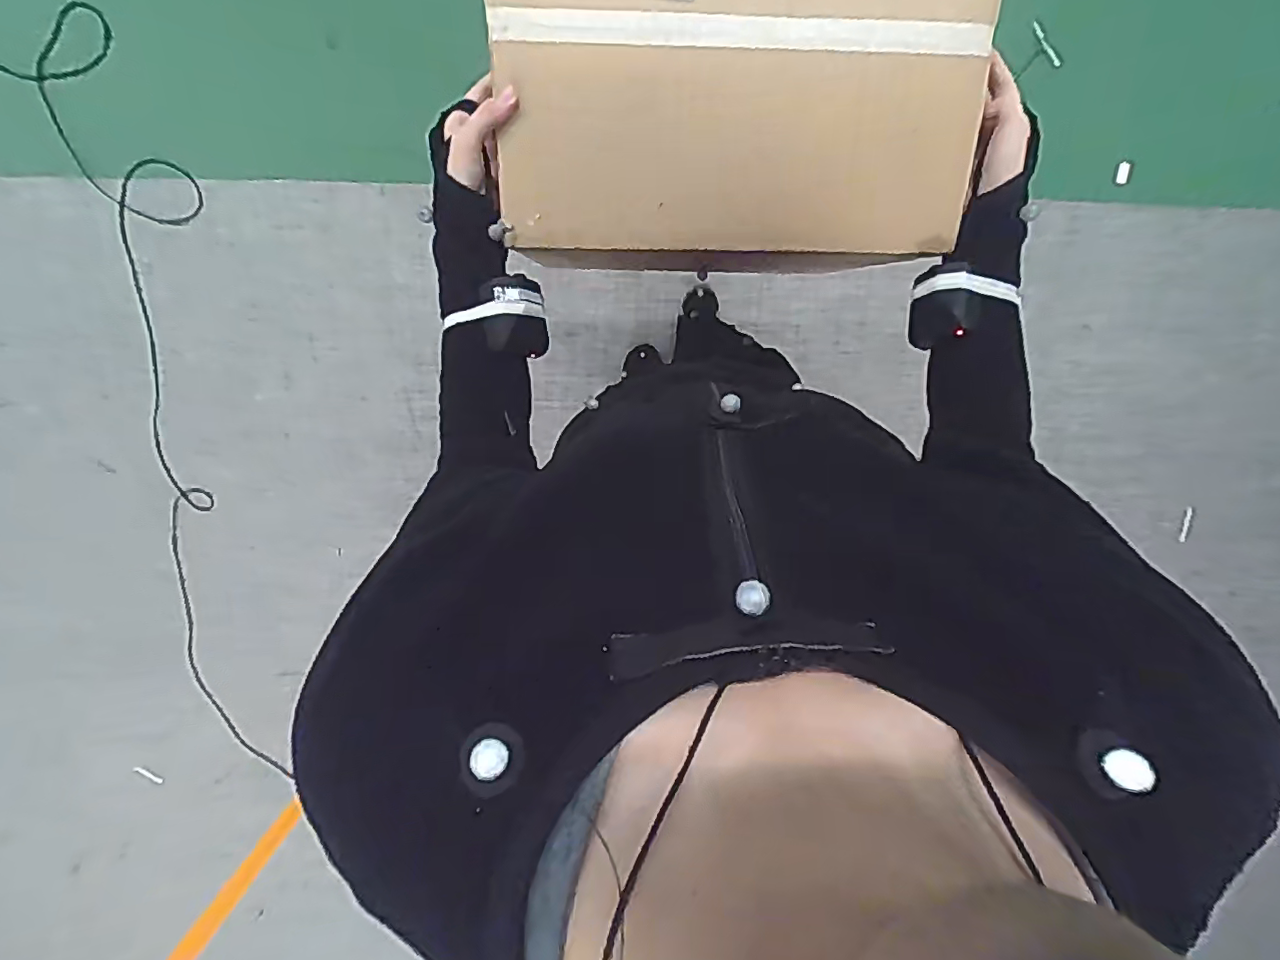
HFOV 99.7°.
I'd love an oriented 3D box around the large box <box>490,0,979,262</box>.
[{"bbox_3d":[0.074,-0.410,0.584,0.408,0.320,0.320,0,107,-2],"label":"large box"}]
